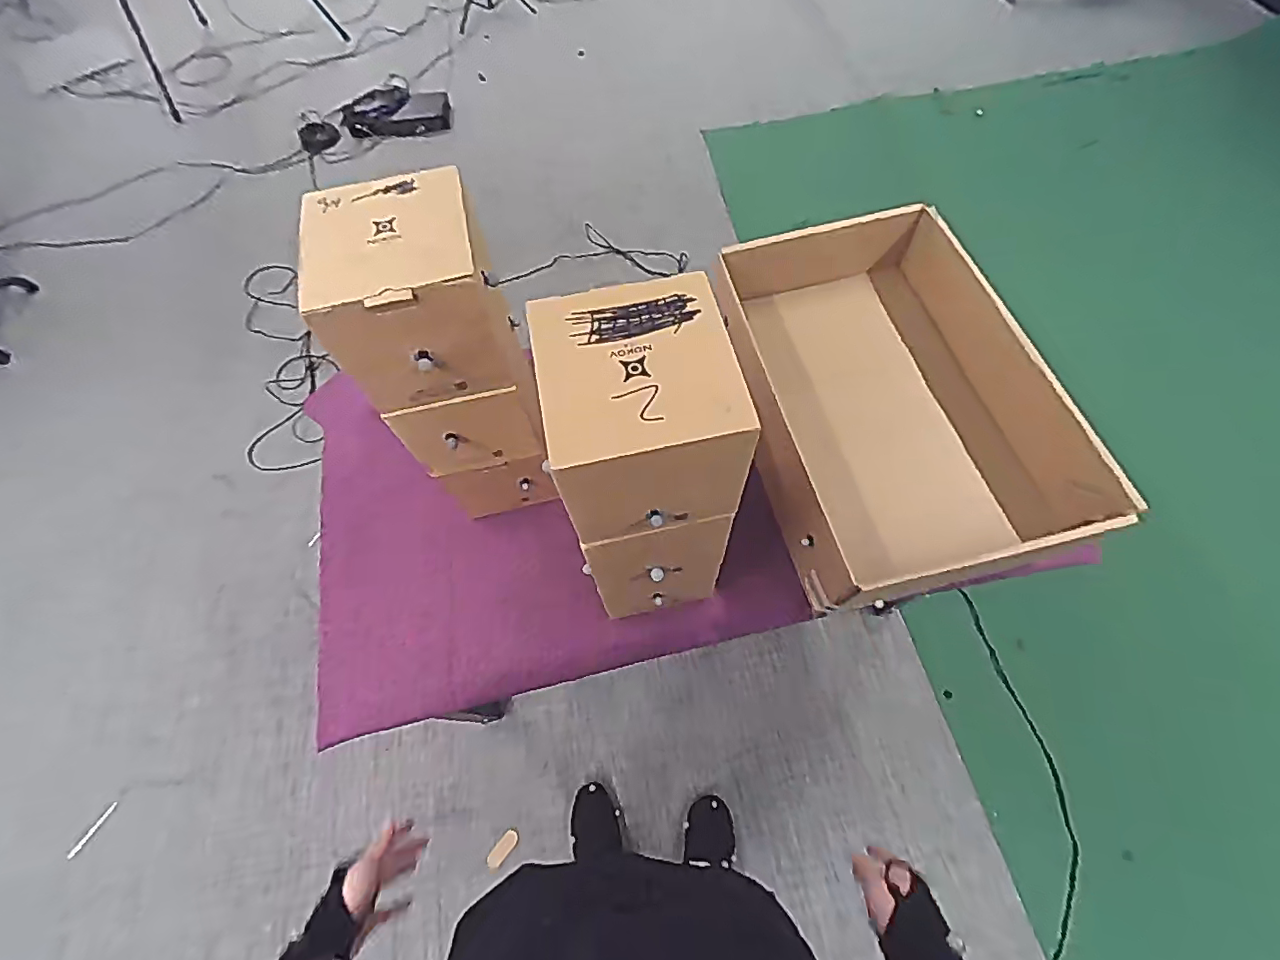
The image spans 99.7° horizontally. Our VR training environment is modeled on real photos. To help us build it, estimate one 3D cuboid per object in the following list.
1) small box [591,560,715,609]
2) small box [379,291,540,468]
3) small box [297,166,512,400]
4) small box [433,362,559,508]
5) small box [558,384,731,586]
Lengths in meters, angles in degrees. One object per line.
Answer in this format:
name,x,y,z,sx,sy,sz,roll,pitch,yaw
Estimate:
small box,0.009,0.085,0.812,0.168,0.176,0.179,-12,64,-4
small box,-0.245,-0.131,0.753,0.168,0.176,0.179,-13,64,-4
small box,-0.251,-0.207,0.608,0.168,0.176,0.179,-13,65,-5
small box,-0.238,-0.065,0.901,0.168,0.176,0.179,-13,64,-4
small box,0.003,0.013,0.665,0.168,0.176,0.179,-12,64,-3
